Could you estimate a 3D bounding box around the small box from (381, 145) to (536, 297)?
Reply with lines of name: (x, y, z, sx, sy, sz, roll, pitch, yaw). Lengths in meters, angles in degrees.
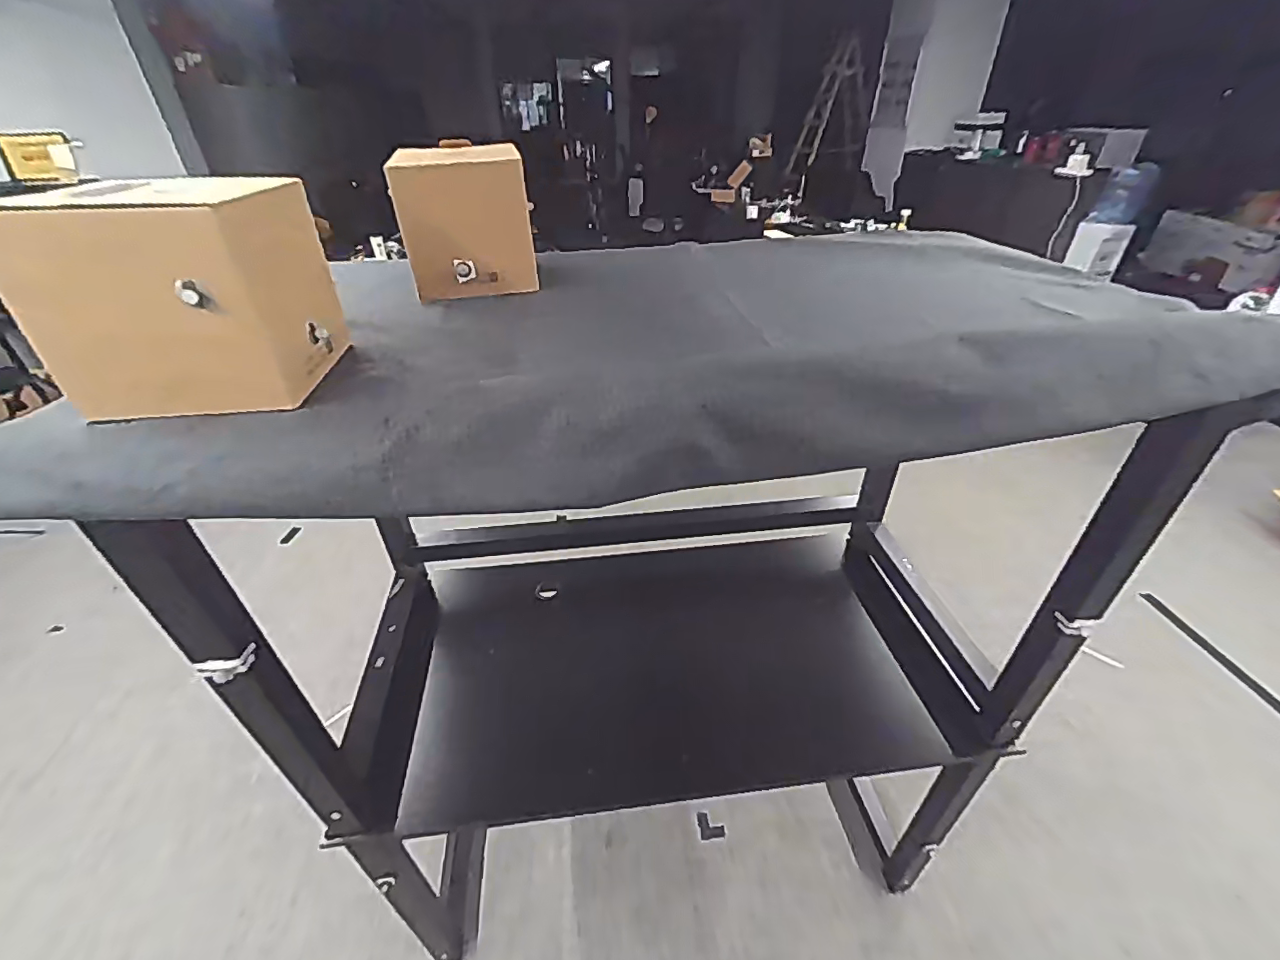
small box: (-0.246, -0.370, 0.767, 0.168, 0.176, 0.179, -10, 36, -10)
